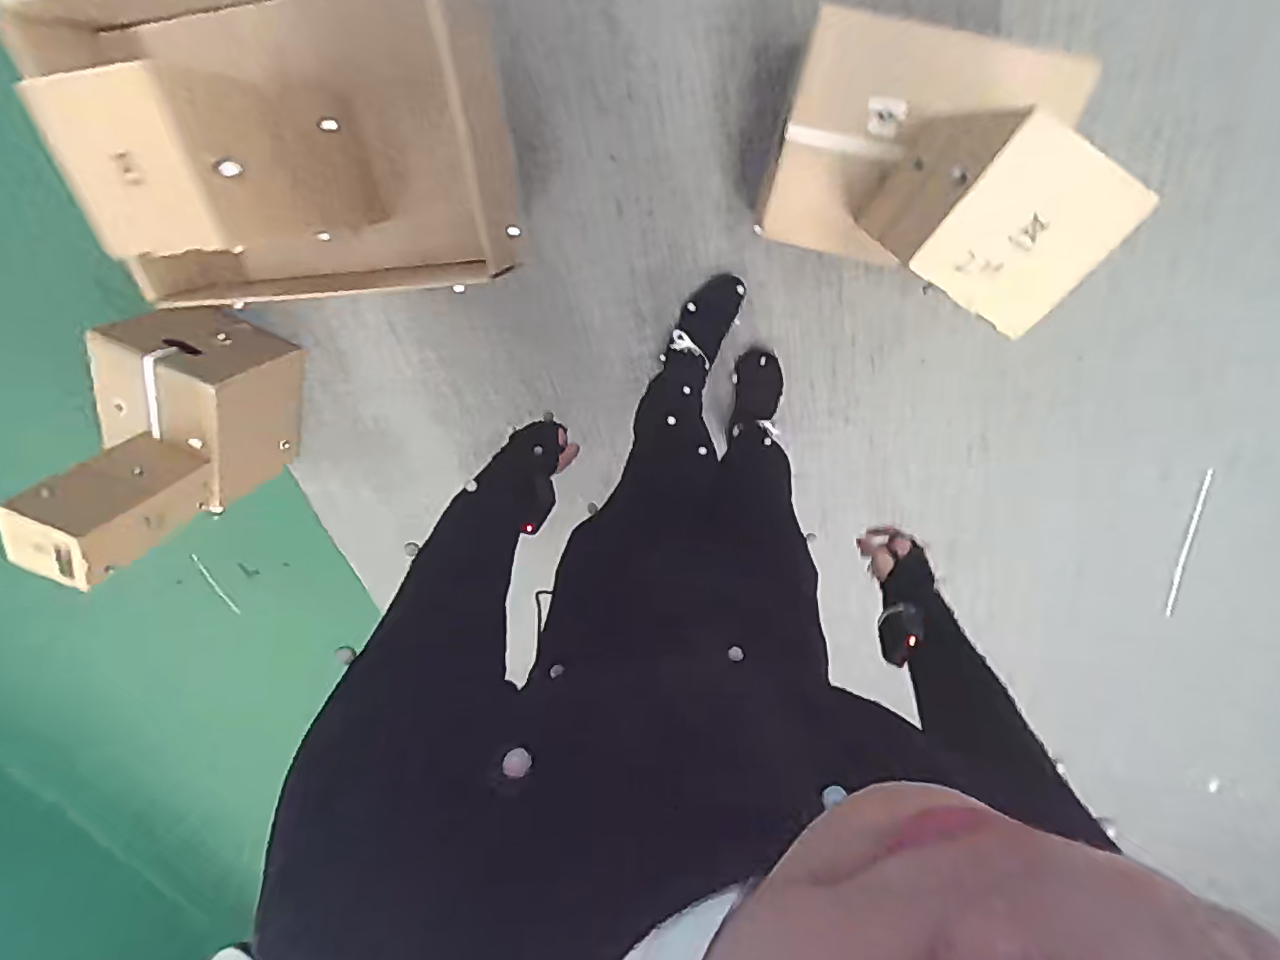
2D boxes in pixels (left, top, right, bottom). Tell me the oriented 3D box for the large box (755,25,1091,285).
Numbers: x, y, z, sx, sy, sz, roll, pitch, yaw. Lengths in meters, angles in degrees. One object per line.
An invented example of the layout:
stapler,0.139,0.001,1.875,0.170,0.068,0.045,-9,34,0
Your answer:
large box,0.448,-0.561,0.977,0.408,0.320,0.320,14,121,3

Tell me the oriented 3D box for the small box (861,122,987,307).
small box,0.452,-0.385,0.791,0.168,0.176,0.179,31,121,-9

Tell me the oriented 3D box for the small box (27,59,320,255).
small box,-0.538,-0.381,0.656,0.168,0.176,0.179,1,120,10

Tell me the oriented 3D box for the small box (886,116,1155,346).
small box,0.430,-0.299,0.650,0.168,0.176,0.179,30,122,-8

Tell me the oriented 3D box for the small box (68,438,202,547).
small box,-1.210,0.024,1.309,0.179,0.176,0.168,27,119,-6
